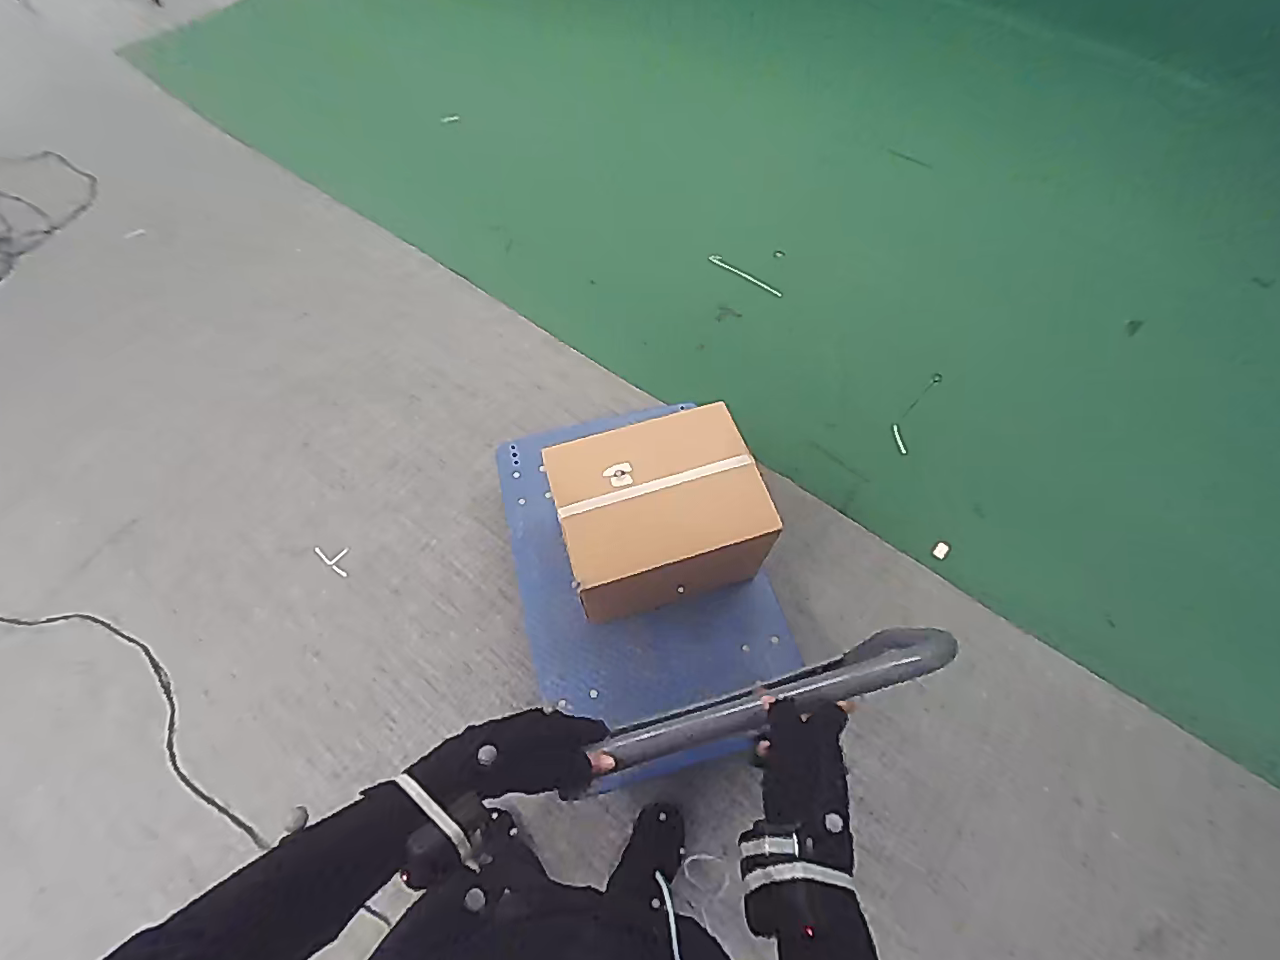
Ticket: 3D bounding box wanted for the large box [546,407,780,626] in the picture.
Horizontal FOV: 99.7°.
[{"bbox_3d":[0.043,0.093,1.216,0.408,0.320,0.320,-18,64,-7],"label":"large box"}]
